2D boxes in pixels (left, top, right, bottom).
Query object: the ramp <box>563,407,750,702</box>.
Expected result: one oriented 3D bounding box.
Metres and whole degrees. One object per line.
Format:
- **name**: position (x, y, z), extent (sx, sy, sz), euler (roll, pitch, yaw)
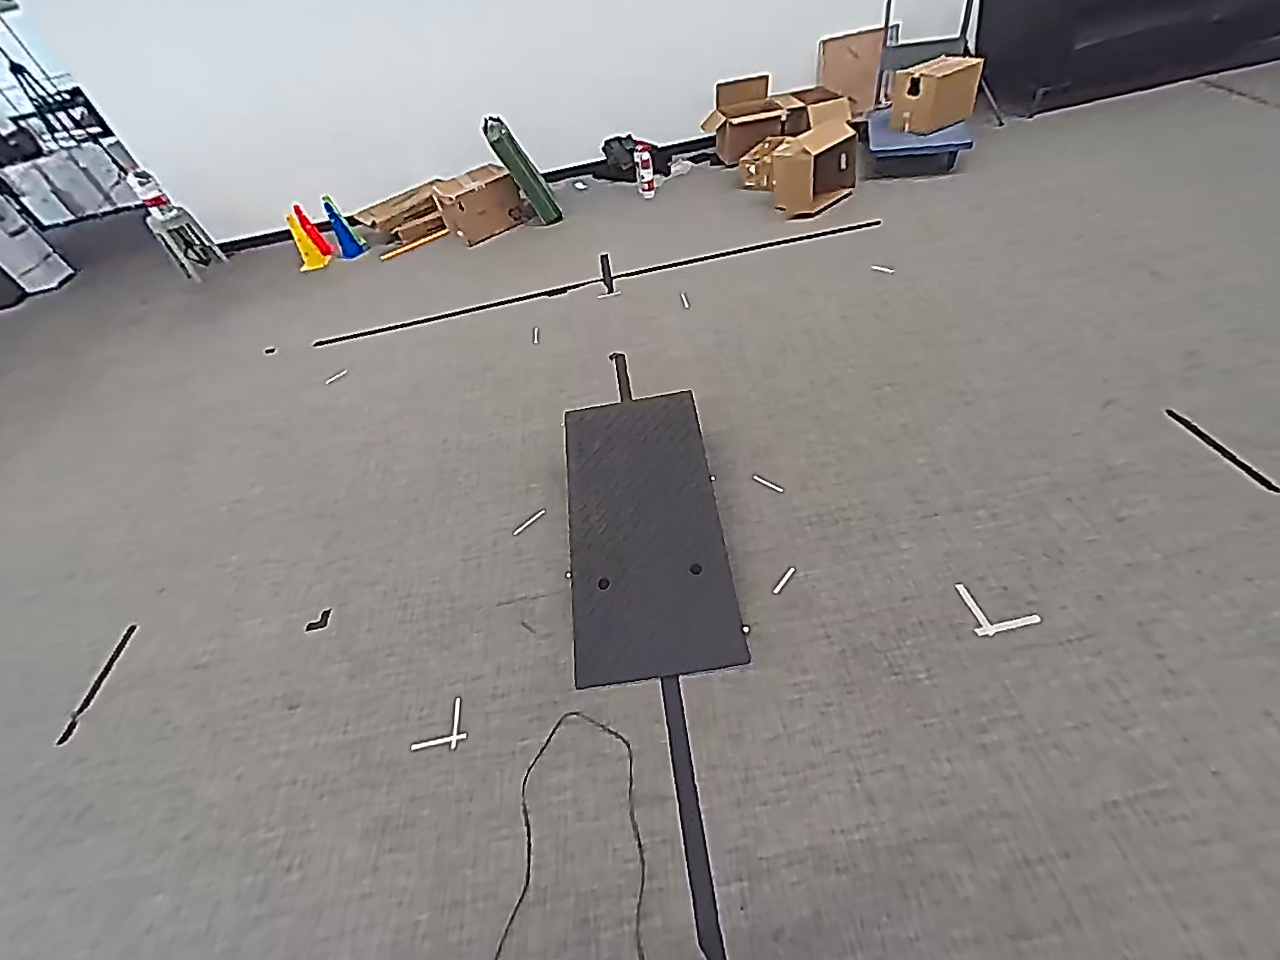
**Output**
- **ramp**: position (0.009, 0.174, 1.778), extent (0.509, 0.206, 0.991), euler (-11, 45, 1)
